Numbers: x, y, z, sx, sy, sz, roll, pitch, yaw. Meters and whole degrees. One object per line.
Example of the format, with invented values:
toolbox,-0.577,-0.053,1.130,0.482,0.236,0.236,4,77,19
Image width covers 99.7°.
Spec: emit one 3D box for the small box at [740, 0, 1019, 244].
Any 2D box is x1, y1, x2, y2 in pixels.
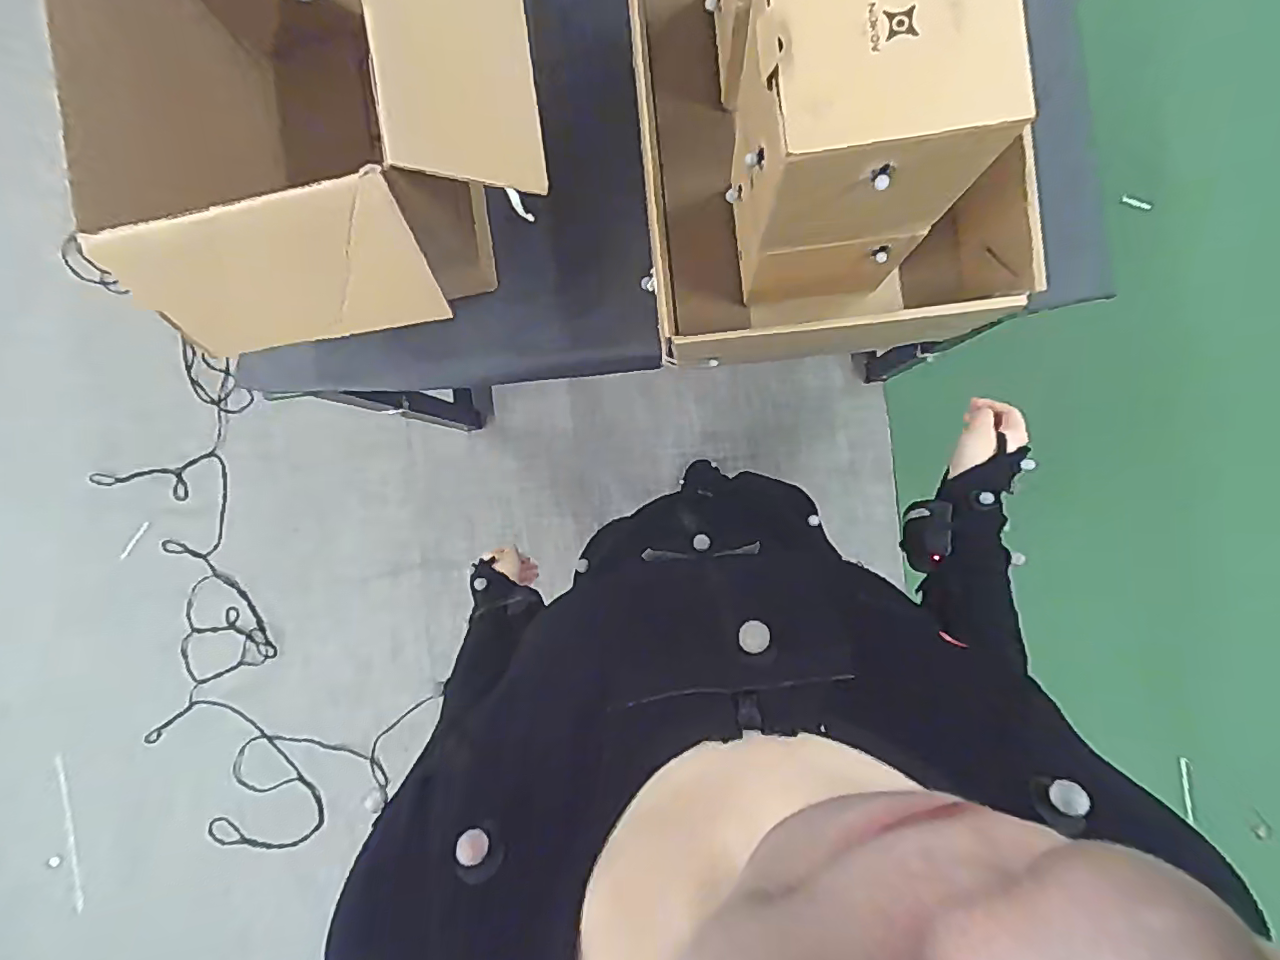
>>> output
small box,0.186,-0.328,0.476,0.179,0.176,0.168,-6,90,4
